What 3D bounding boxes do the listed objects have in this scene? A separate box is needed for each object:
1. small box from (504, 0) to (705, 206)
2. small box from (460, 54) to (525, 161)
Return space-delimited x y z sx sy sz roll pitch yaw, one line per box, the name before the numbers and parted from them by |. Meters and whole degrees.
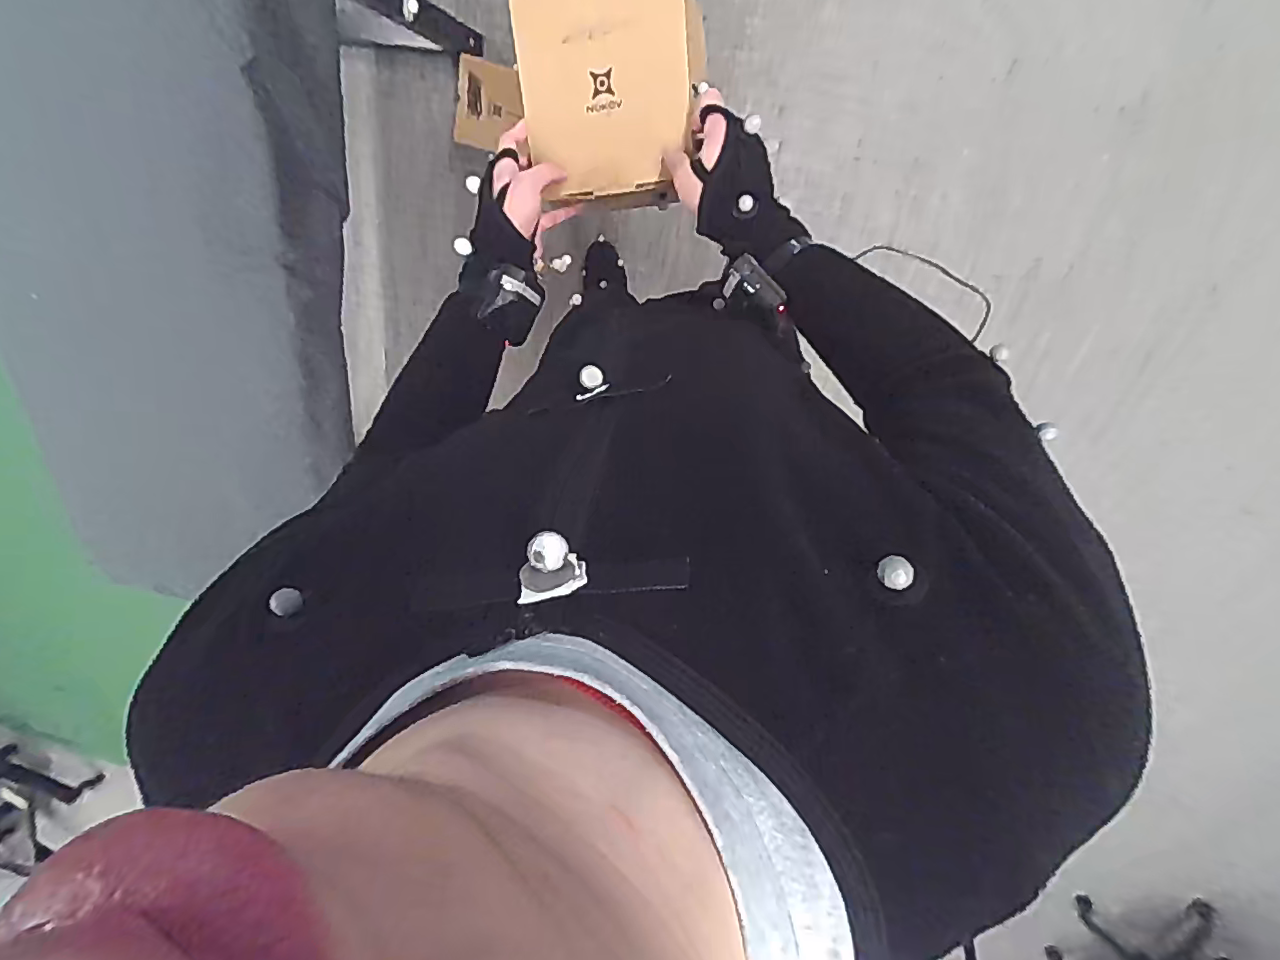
small box | -0.023 -0.402 0.580 0.168 0.176 0.179 0 110 14
small box | -0.289 -0.841 1.246 0.179 0.176 0.168 18 118 3
